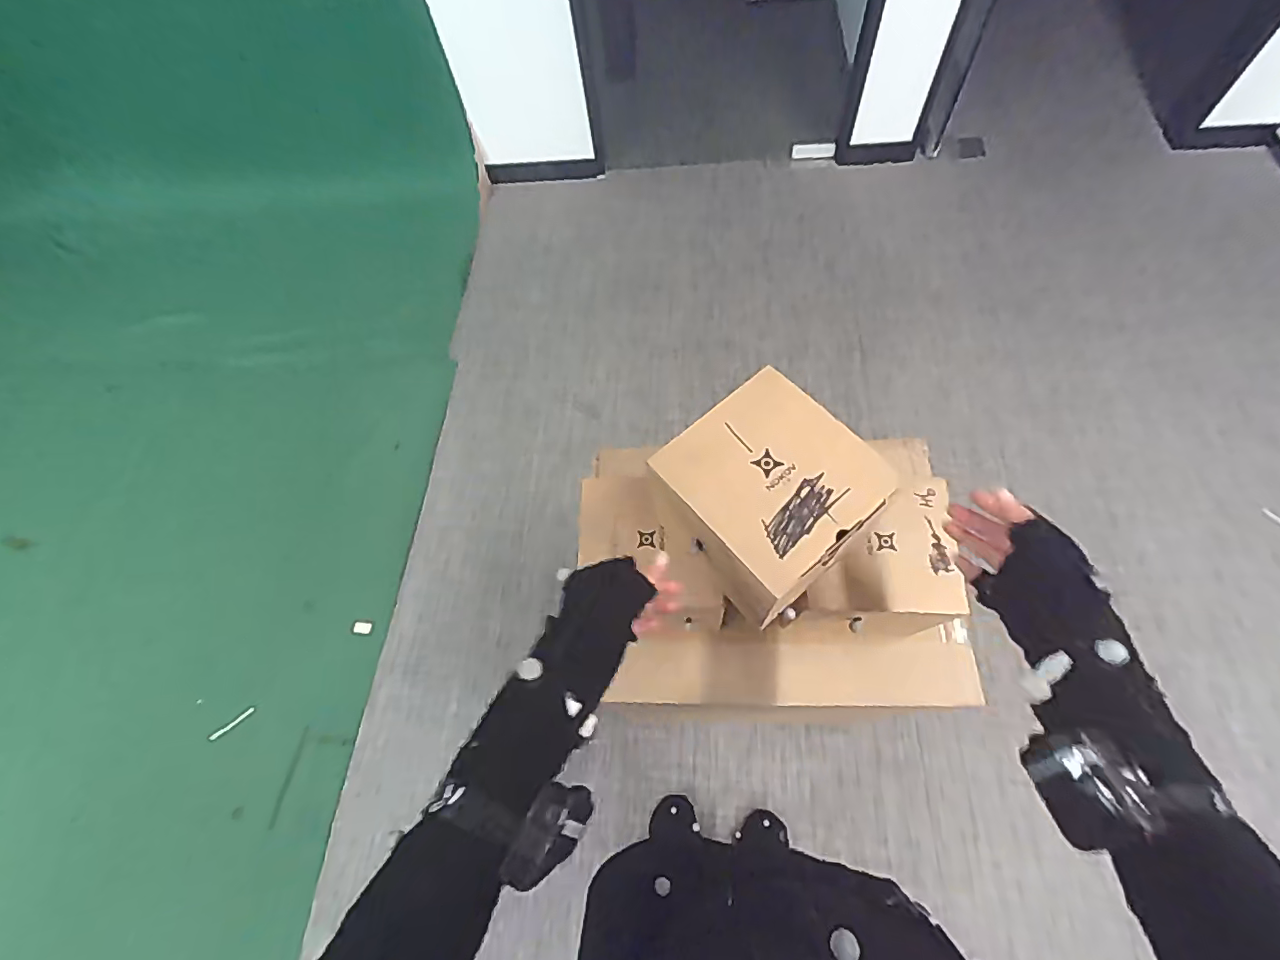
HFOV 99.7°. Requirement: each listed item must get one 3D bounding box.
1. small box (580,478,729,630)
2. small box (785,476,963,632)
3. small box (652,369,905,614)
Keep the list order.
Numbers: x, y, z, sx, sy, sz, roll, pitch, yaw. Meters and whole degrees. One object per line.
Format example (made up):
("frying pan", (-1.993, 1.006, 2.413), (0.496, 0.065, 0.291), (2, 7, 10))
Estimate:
("small box", (0.024, 0.105, 0.732), (0.179, 0.176, 0.168), (-2, 65, 6))
("small box", (0.284, 0.103, 0.708), (0.179, 0.176, 0.168), (0, 67, 7))
("small box", (0.135, 0.025, 0.577), (0.168, 0.176, 0.179), (-38, 67, -11))
